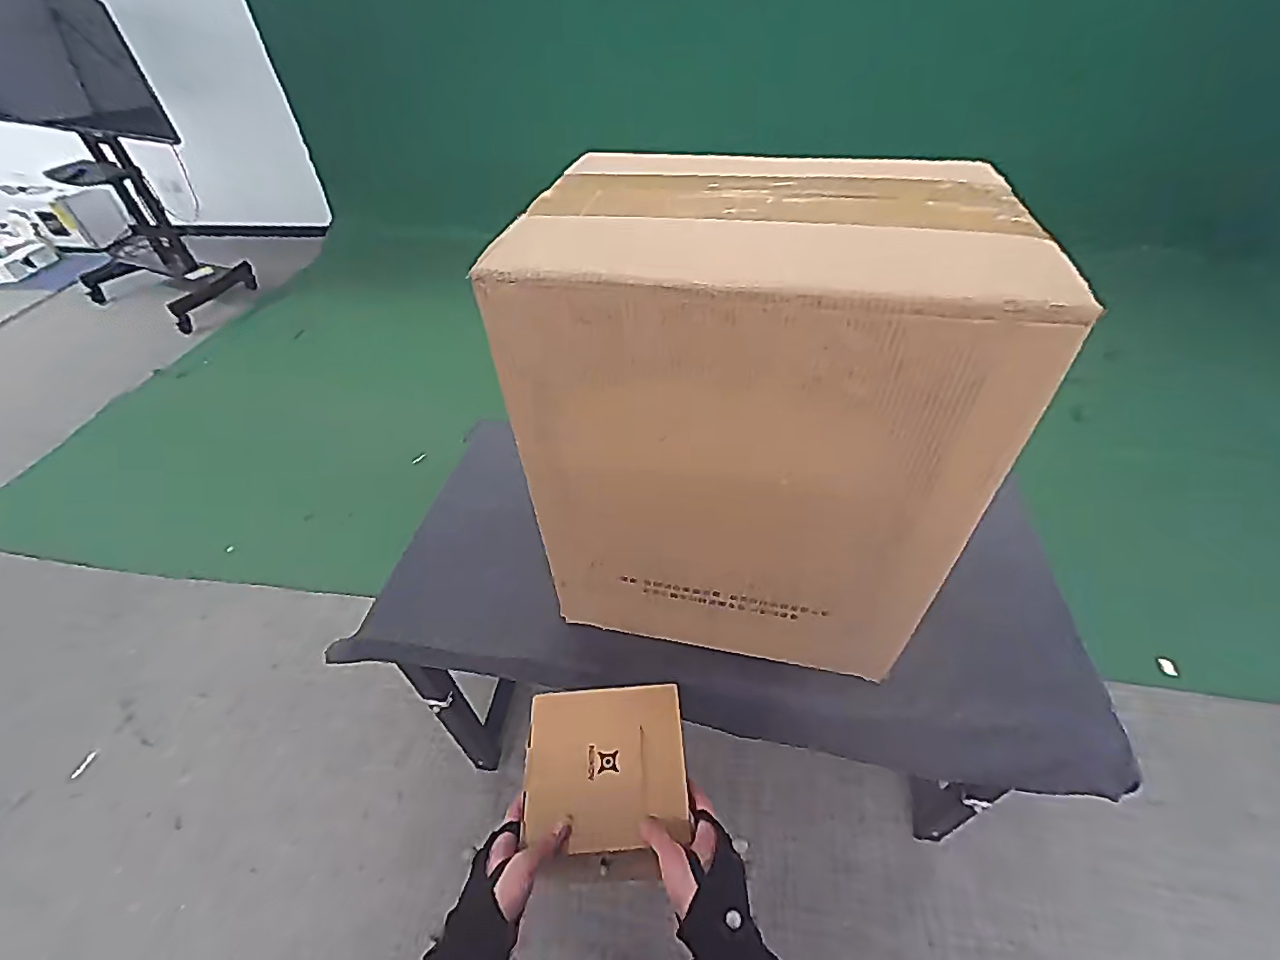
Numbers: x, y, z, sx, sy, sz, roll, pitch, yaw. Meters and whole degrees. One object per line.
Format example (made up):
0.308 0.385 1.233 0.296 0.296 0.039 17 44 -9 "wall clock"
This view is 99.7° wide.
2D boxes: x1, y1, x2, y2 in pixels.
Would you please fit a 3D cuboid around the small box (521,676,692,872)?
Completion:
-0.035 0.355 0.650 0.179 0.176 0.168 -4 47 -2 "small box"
